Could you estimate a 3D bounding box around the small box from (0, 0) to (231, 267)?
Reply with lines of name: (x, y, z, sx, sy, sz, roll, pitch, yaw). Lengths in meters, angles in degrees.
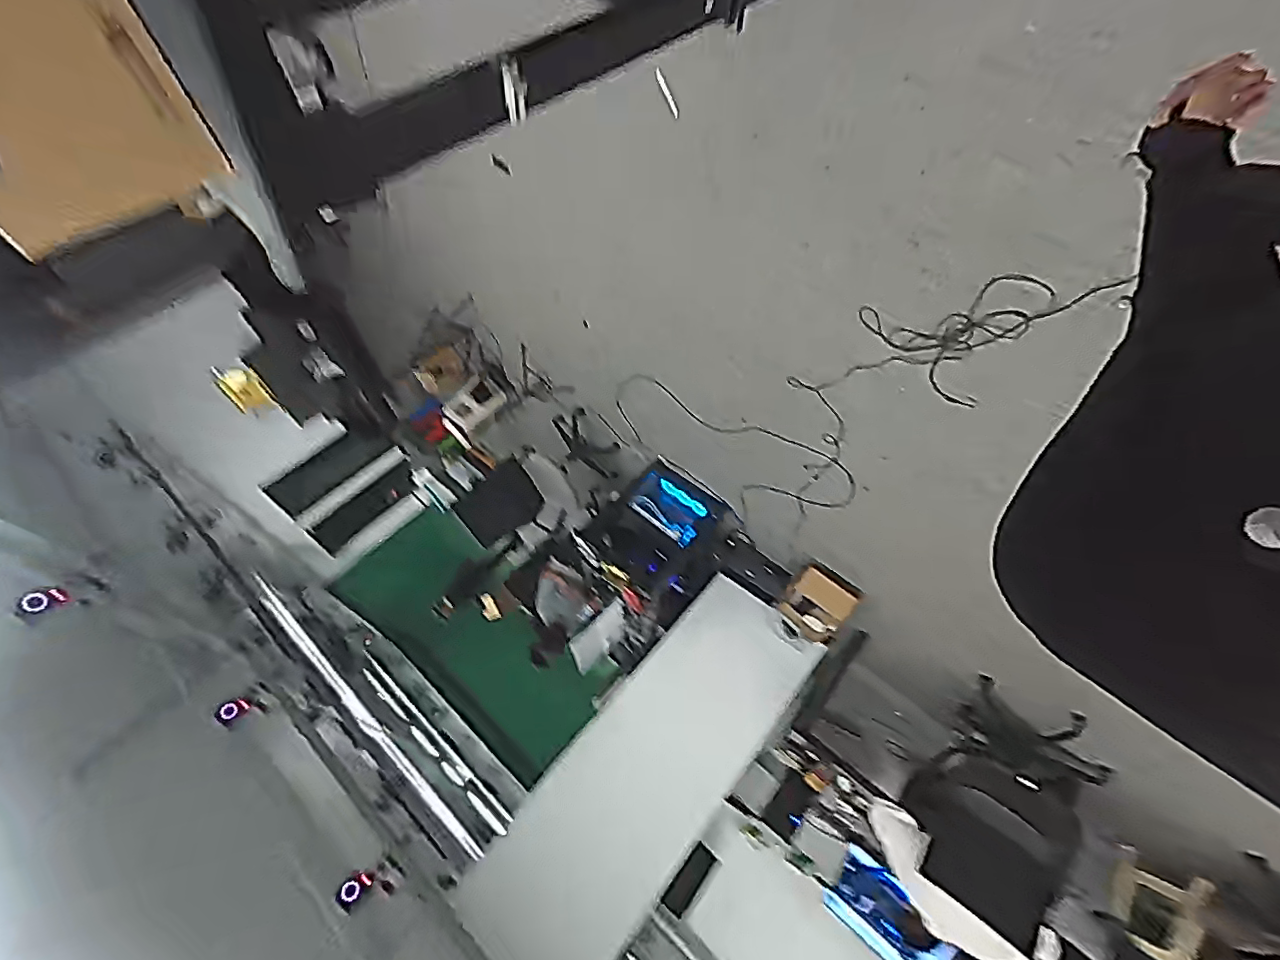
small box: (-0.482, -0.308, 0.431, 0.179, 0.176, 0.168, 34, 153, 25)
